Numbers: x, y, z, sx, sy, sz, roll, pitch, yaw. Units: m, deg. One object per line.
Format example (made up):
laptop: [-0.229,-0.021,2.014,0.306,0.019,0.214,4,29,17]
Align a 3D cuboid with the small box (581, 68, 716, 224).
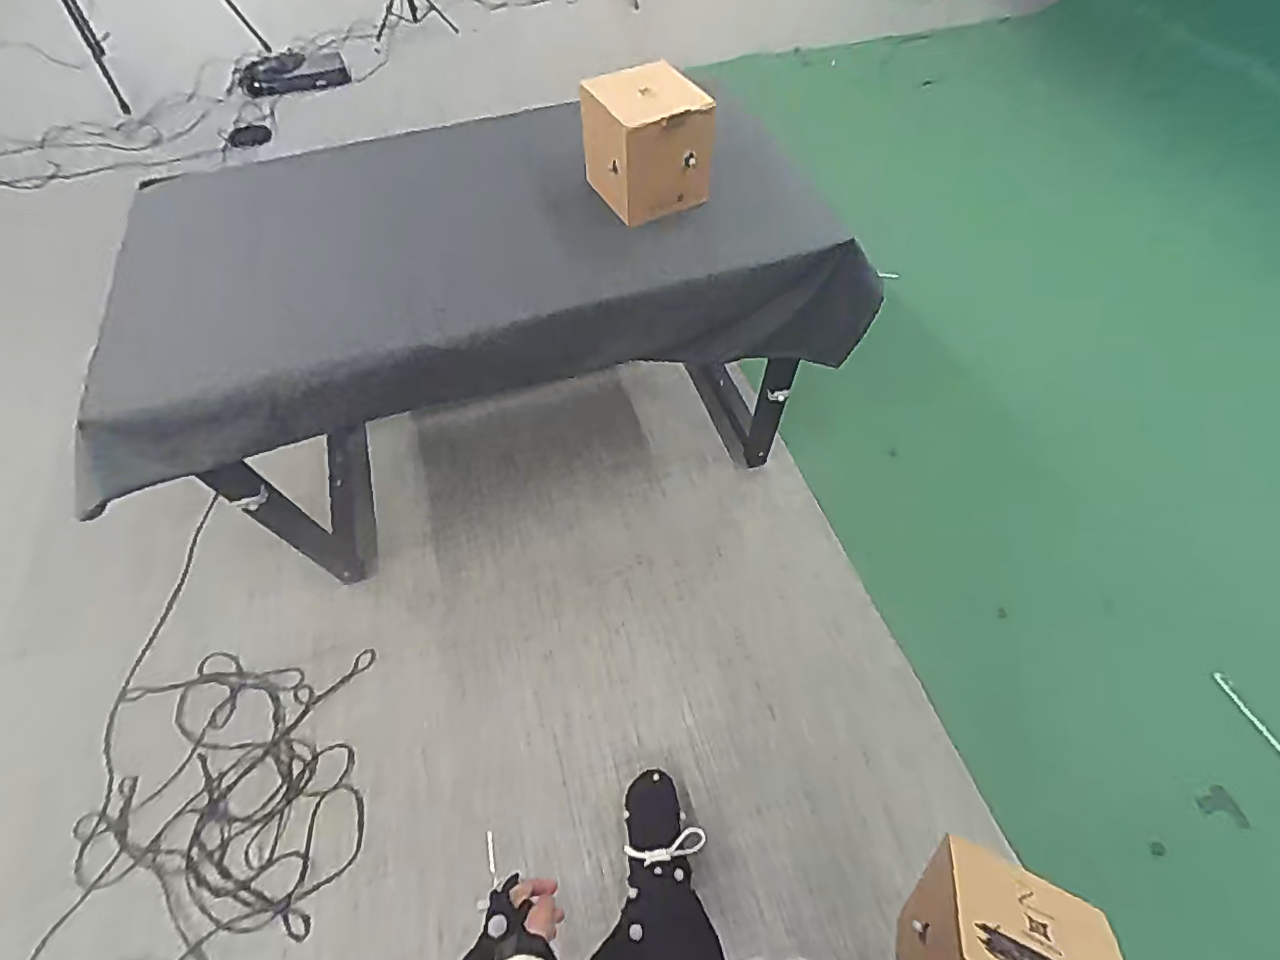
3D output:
small box: [0.014,-0.574,0.944,0.168,0.176,0.179,-25,60,-15]
